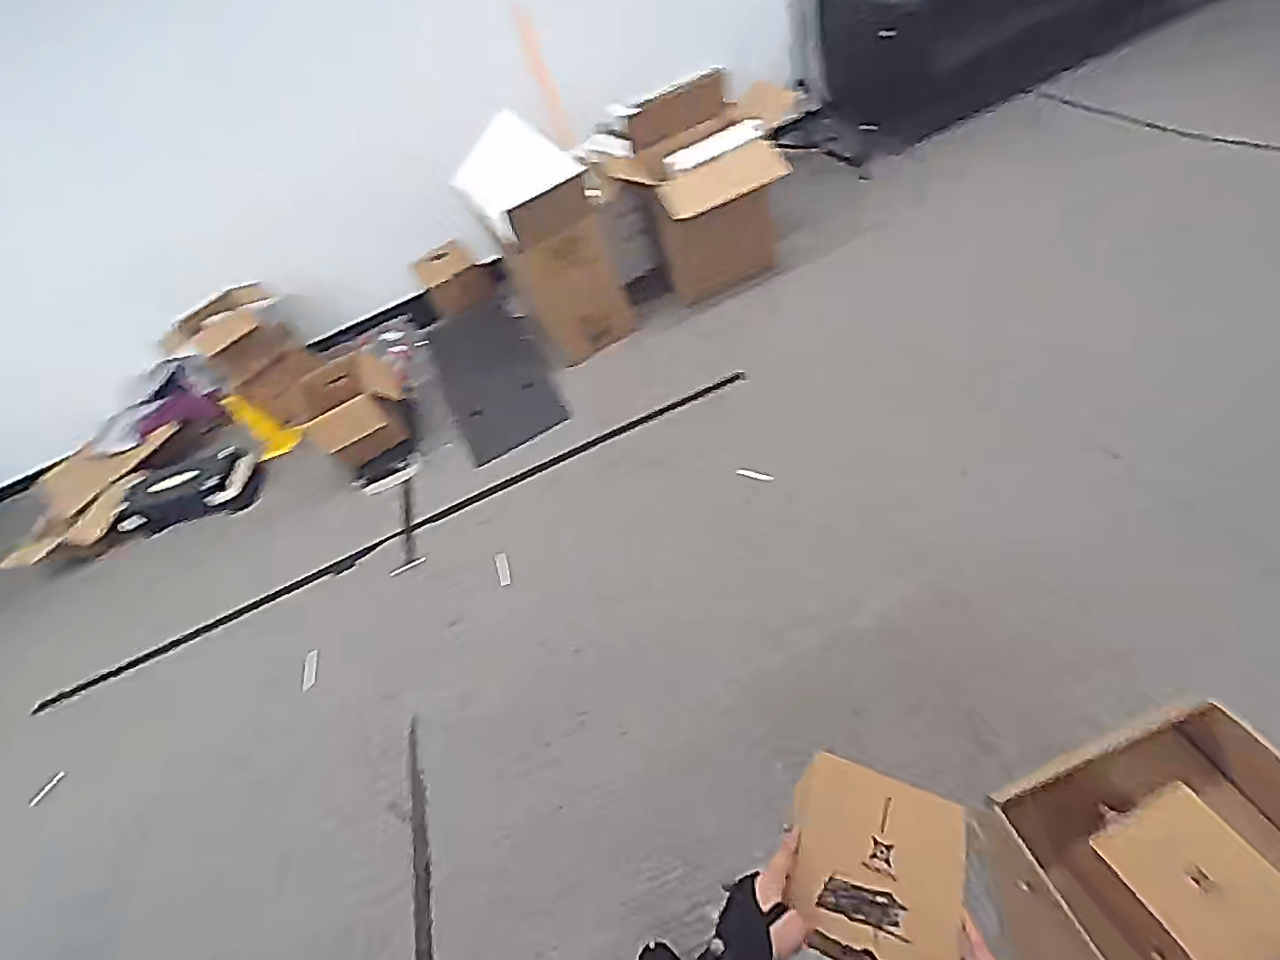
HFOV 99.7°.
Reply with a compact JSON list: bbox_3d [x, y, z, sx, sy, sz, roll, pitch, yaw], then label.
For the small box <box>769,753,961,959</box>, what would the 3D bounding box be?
[{"bbox_3d":[0.254,0.461,0.633,0.168,0.176,0.179,15,50,18],"label":"small box"}]
